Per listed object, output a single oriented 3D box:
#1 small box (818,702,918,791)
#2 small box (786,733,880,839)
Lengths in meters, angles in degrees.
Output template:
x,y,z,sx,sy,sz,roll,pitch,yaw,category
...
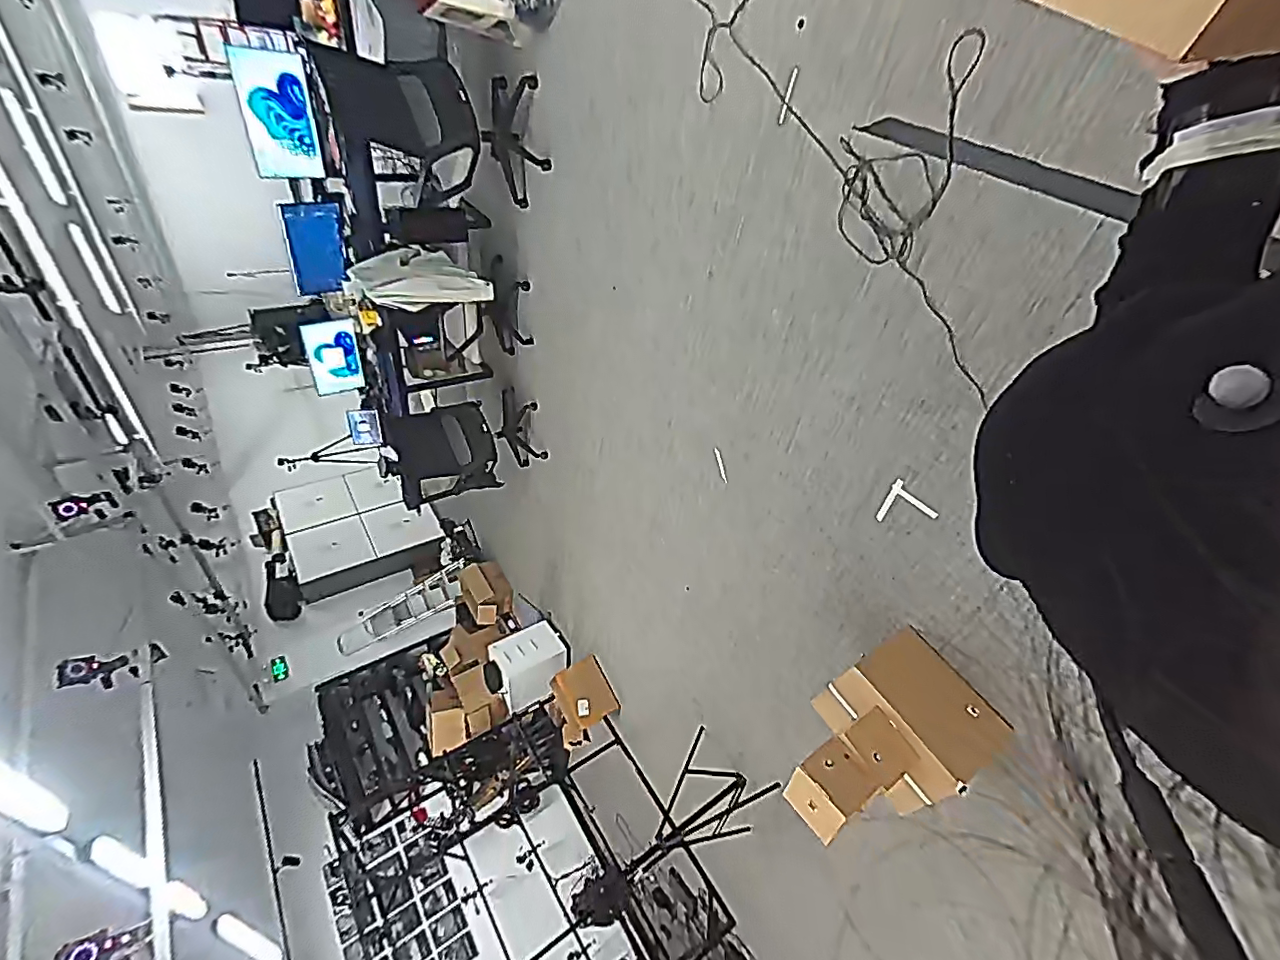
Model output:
x,y,z,sx,sy,sz,roll,pitch,yaw,category
0.679,0.798,1.607,0.179,0.176,0.168,54,145,27,small box
0.548,0.859,1.531,0.168,0.176,0.179,42,140,40,small box
